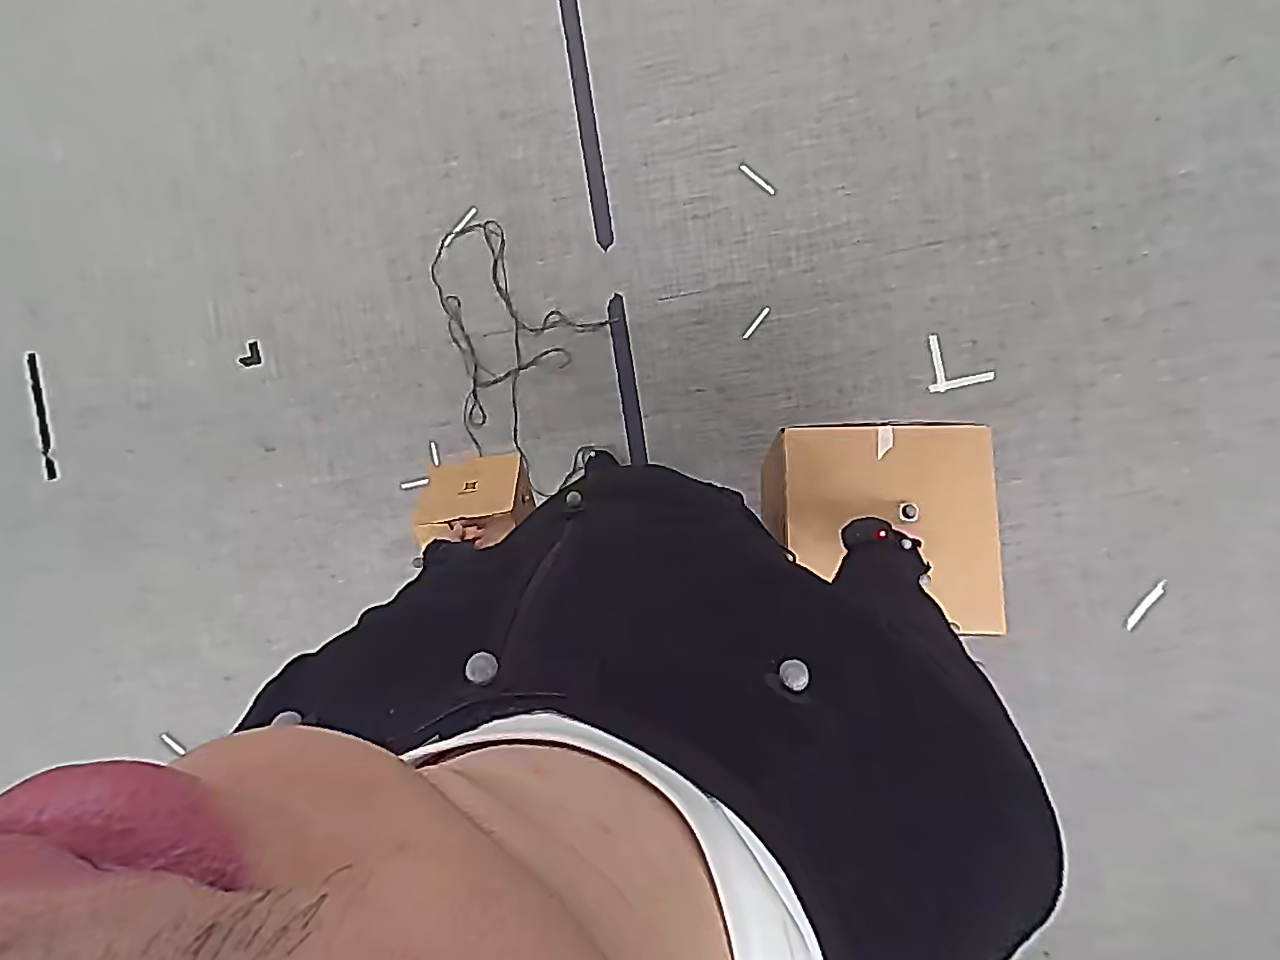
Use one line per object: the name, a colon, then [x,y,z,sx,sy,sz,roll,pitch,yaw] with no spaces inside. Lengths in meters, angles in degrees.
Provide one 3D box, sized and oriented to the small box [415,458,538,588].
small box: [-0.288,0.083,0.997,0.168,0.179,0.176,-8,125,-2]
